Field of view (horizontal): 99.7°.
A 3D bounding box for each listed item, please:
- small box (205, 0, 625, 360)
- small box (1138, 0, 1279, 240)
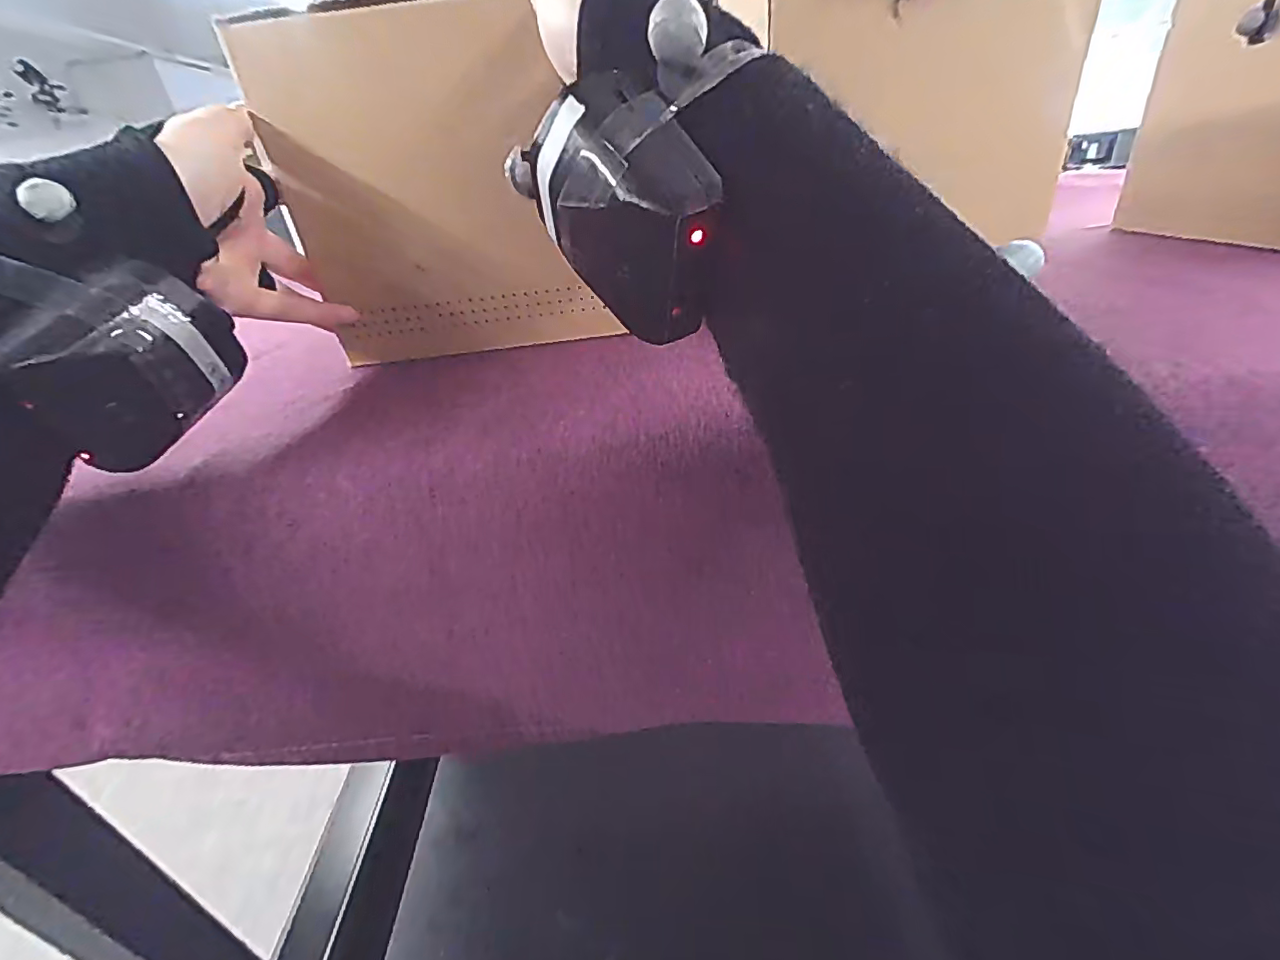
[{"bbox_3d":[-0.102,-0.187,0.345,0.179,0.176,0.168,-7,30,1],"label":"small box"},{"bbox_3d":[0.462,-0.243,0.320,0.168,0.176,0.179,-5,30,4],"label":"small box"}]
